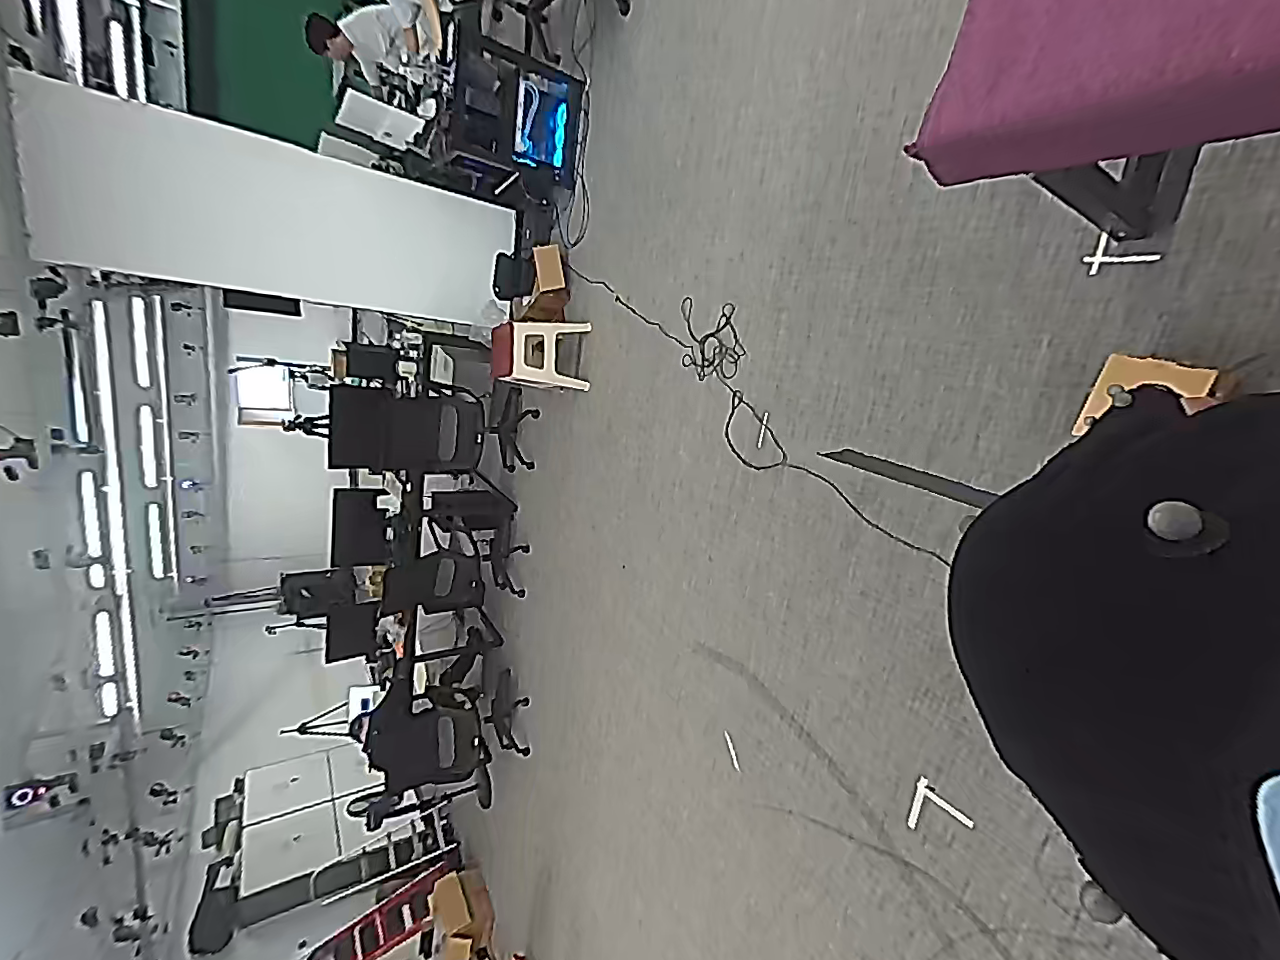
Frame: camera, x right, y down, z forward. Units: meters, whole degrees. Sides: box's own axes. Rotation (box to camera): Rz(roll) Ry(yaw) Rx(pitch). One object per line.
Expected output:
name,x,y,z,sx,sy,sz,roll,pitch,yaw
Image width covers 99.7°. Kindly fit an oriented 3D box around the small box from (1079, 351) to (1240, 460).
small box,1.039,-0.148,1.082,0.168,0.176,0.179,36,120,49
